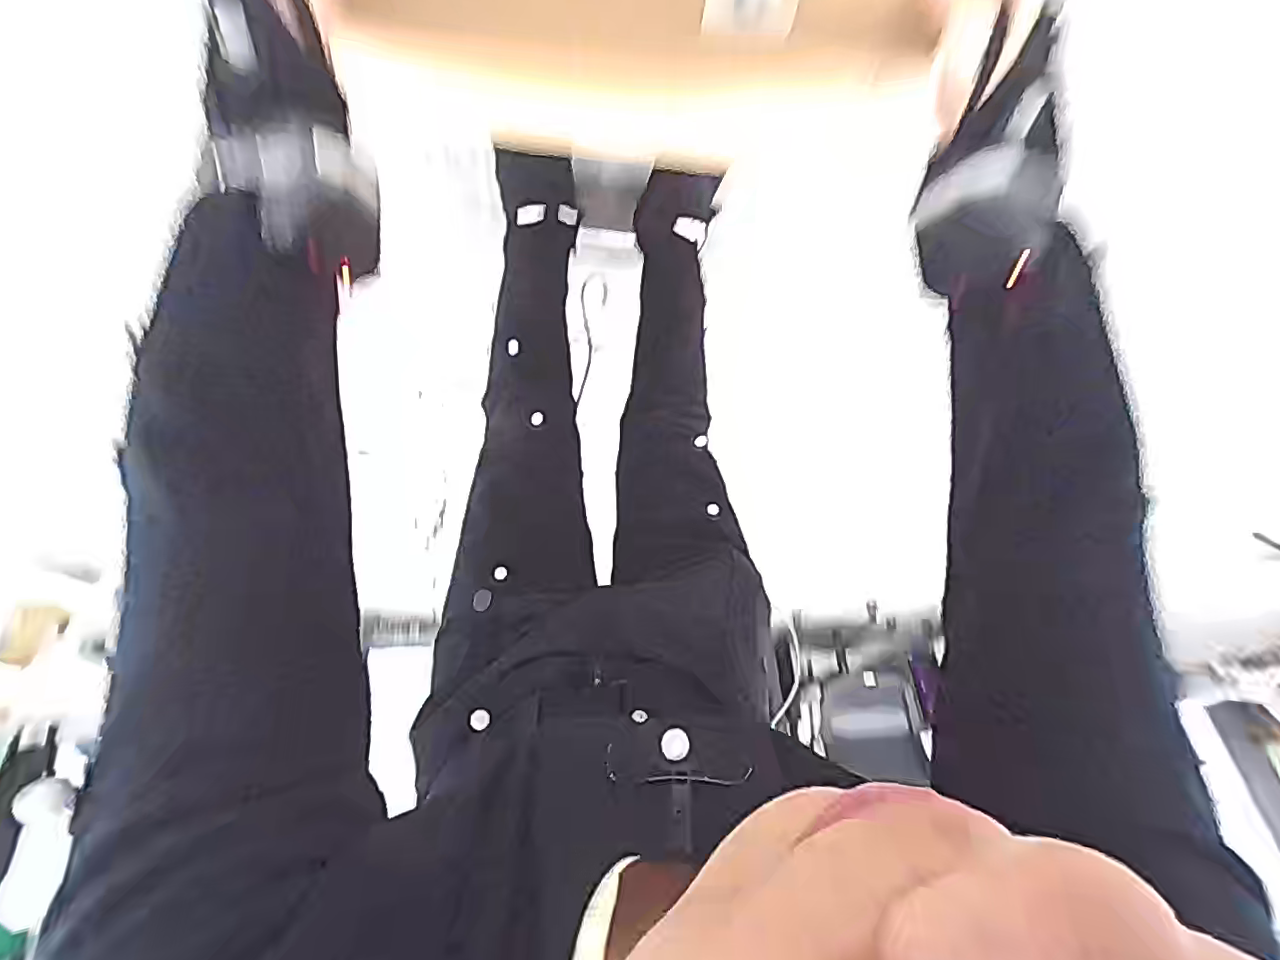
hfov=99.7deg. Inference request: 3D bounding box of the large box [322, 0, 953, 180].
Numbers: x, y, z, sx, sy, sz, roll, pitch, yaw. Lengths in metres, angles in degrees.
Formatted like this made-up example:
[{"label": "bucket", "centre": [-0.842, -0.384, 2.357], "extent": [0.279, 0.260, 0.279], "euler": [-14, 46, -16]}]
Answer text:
[{"label": "large box", "centre": [0.002, -0.458, 0.366], "extent": [0.408, 0.320, 0.320], "euler": [2, 151, -8]}]
